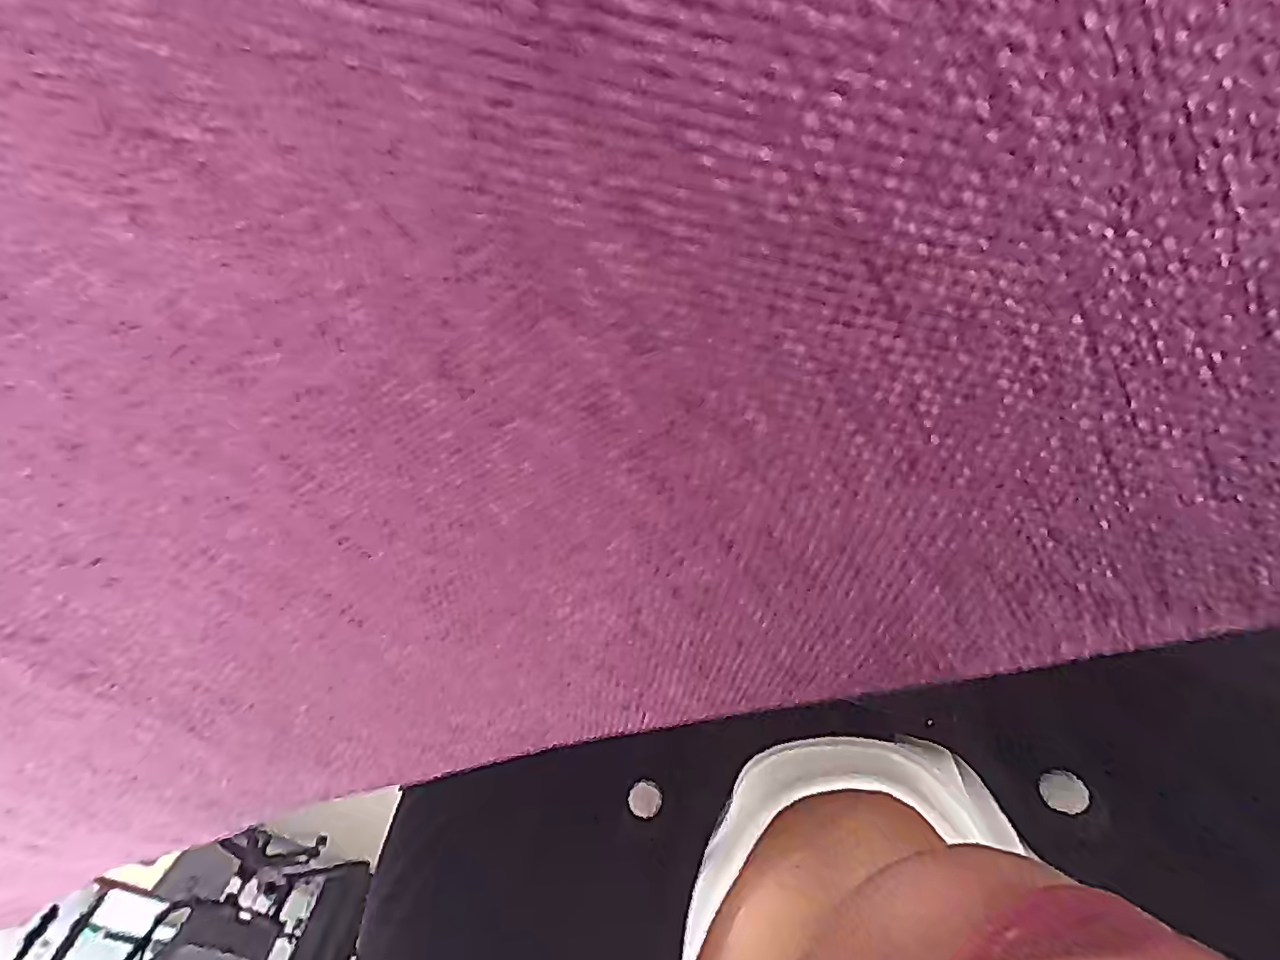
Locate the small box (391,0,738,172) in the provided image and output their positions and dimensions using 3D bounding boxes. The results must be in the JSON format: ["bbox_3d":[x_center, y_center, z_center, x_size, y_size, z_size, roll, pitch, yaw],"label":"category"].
[{"bbox_3d":[-0.040,-0.313,0.294,0.168,0.176,0.179,-25,119,28],"label":"small box"}]
